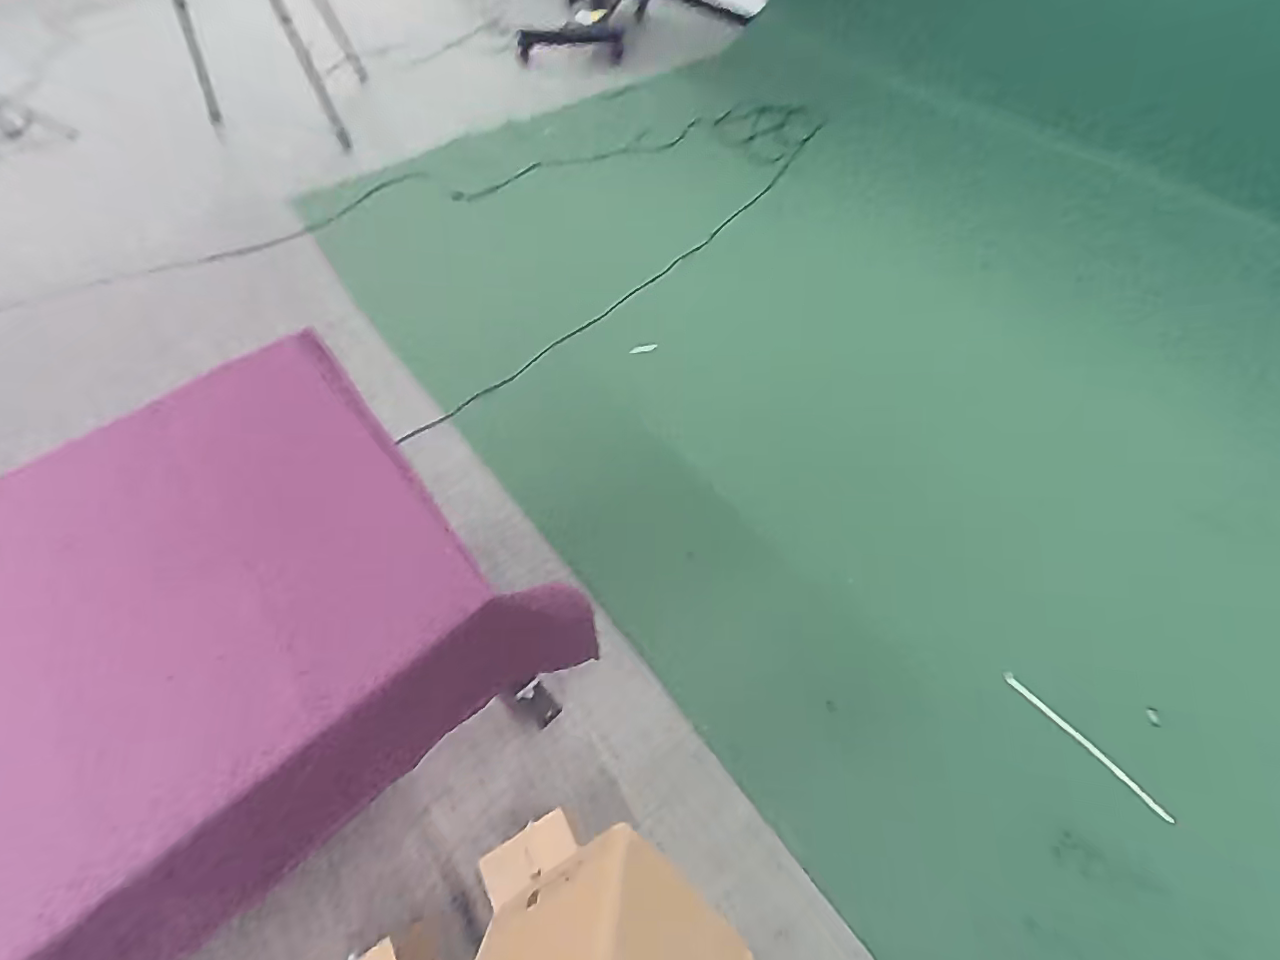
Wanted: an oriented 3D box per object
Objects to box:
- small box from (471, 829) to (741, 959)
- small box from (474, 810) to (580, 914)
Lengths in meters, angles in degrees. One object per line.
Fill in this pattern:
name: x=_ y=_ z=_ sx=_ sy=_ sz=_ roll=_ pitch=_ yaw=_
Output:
small box: x=-0.030 y=0.419 z=0.407 sx=0.168 sy=0.176 sz=0.179 roll=-40 pitch=95 yaw=12
small box: x=-0.184 y=0.752 z=1.013 sx=0.168 sy=0.176 sz=0.179 roll=-26 pitch=59 yaw=-16
